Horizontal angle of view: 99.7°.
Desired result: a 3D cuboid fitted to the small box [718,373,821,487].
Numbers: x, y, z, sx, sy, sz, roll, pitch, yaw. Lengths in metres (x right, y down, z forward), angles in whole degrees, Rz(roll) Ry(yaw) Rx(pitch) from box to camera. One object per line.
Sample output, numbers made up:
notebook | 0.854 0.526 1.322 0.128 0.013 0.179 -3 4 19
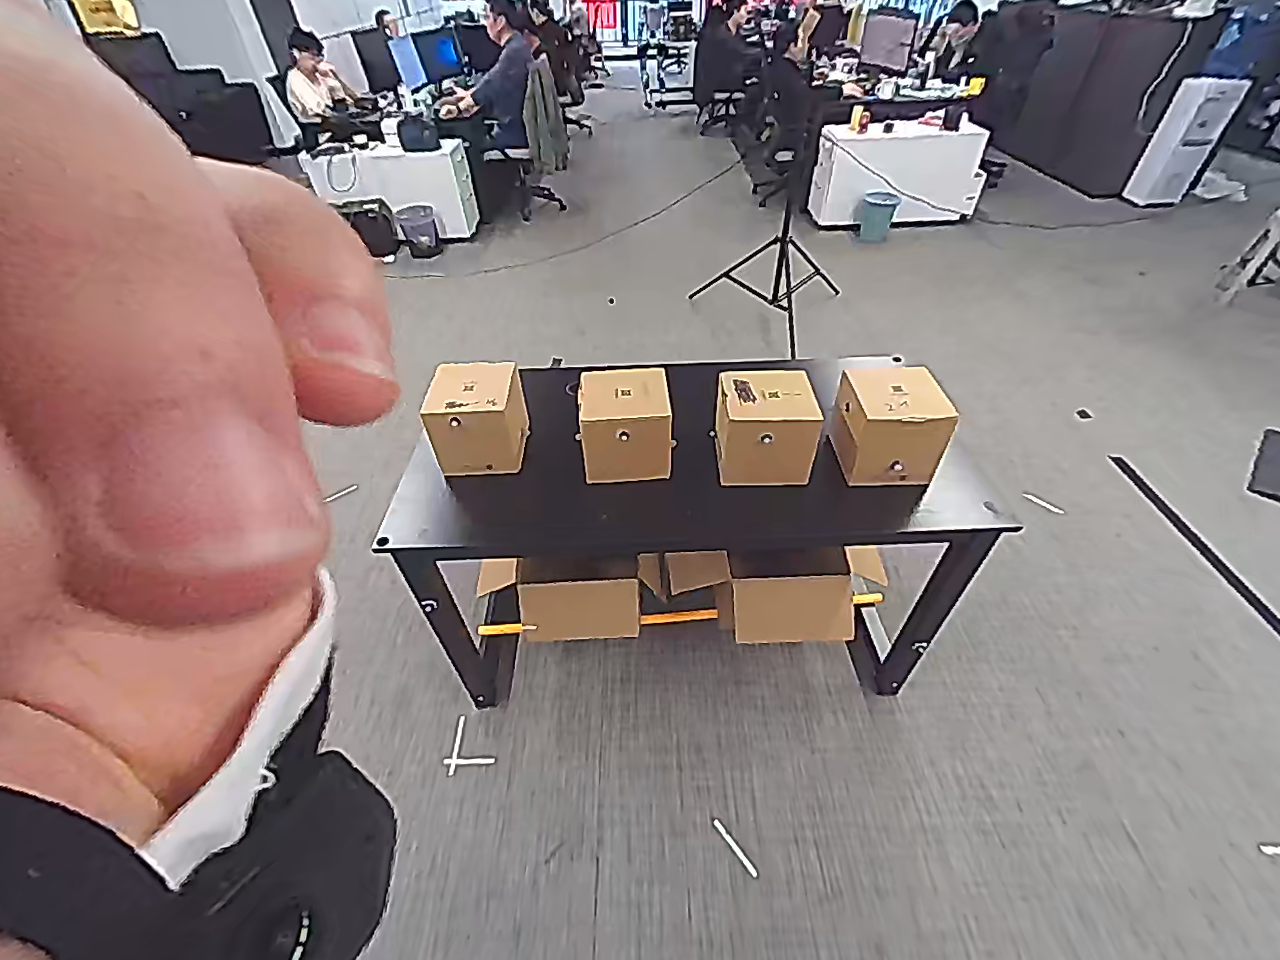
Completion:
small box | 0.250 -0.099 1.093 0.179 0.176 0.168 -1 43 2

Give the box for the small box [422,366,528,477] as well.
small box | -0.338 -0.124 1.148 0.168 0.176 0.179 -2 43 0

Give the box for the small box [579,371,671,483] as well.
small box | -0.029 -0.106 1.118 0.179 0.176 0.168 -3 45 -2

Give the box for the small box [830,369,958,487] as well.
small box | 0.495 -0.105 1.086 0.168 0.176 0.179 -2 43 3
